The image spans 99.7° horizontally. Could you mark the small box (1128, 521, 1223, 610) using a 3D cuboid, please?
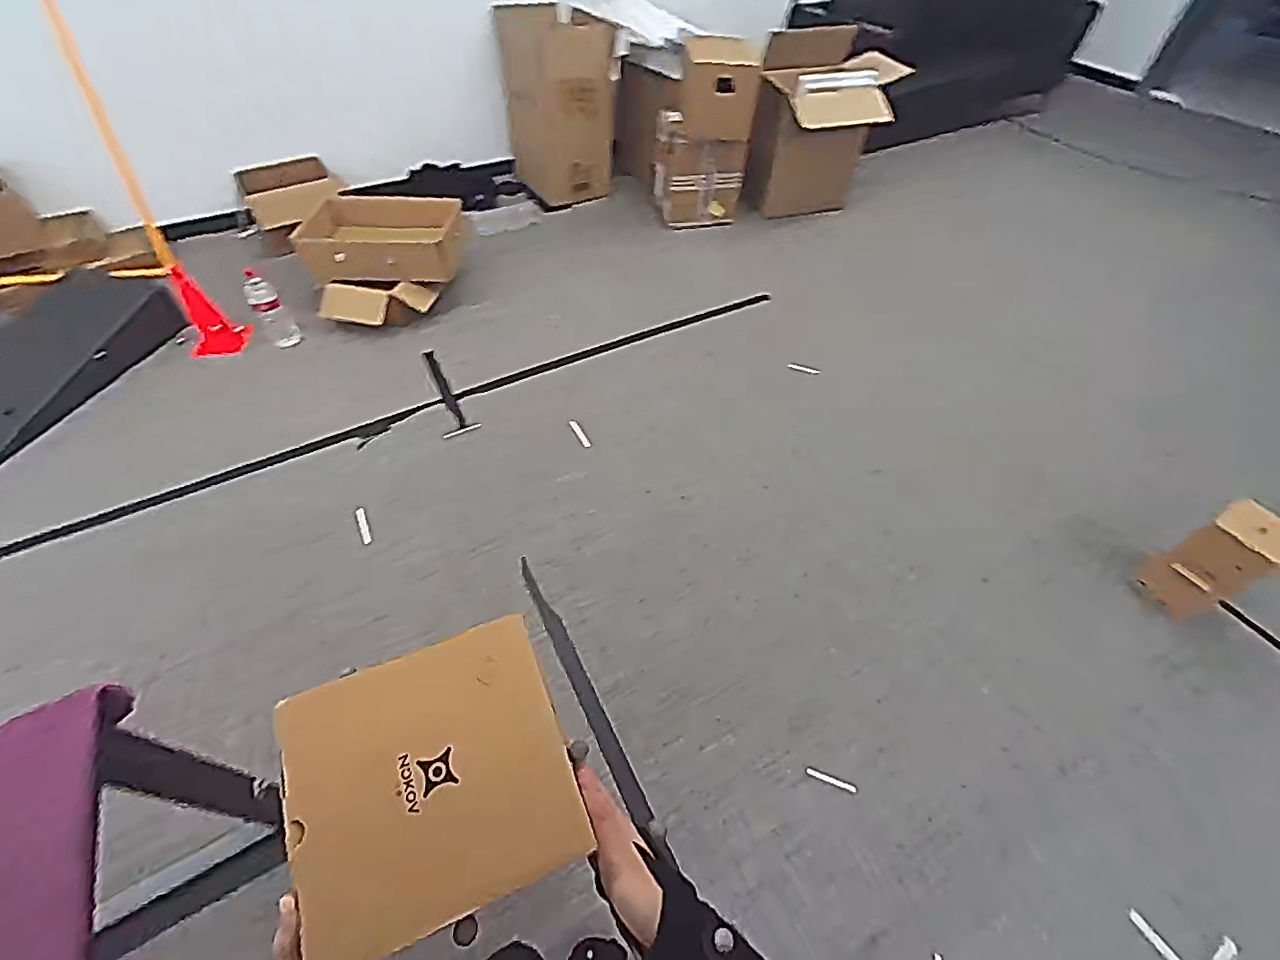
[{"bbox_3d":[1.636,0.261,1.627,0.179,0.176,0.168,-25,56,-20],"label":"small box"}]

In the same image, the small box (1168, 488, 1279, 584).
[{"bbox_3d":[1.640,0.160,1.500,0.179,0.176,0.168,-26,57,-21],"label":"small box"}]

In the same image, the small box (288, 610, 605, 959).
[{"bbox_3d":[-0.138,0.226,0.428,0.179,0.176,0.168,-19,65,-13],"label":"small box"}]
